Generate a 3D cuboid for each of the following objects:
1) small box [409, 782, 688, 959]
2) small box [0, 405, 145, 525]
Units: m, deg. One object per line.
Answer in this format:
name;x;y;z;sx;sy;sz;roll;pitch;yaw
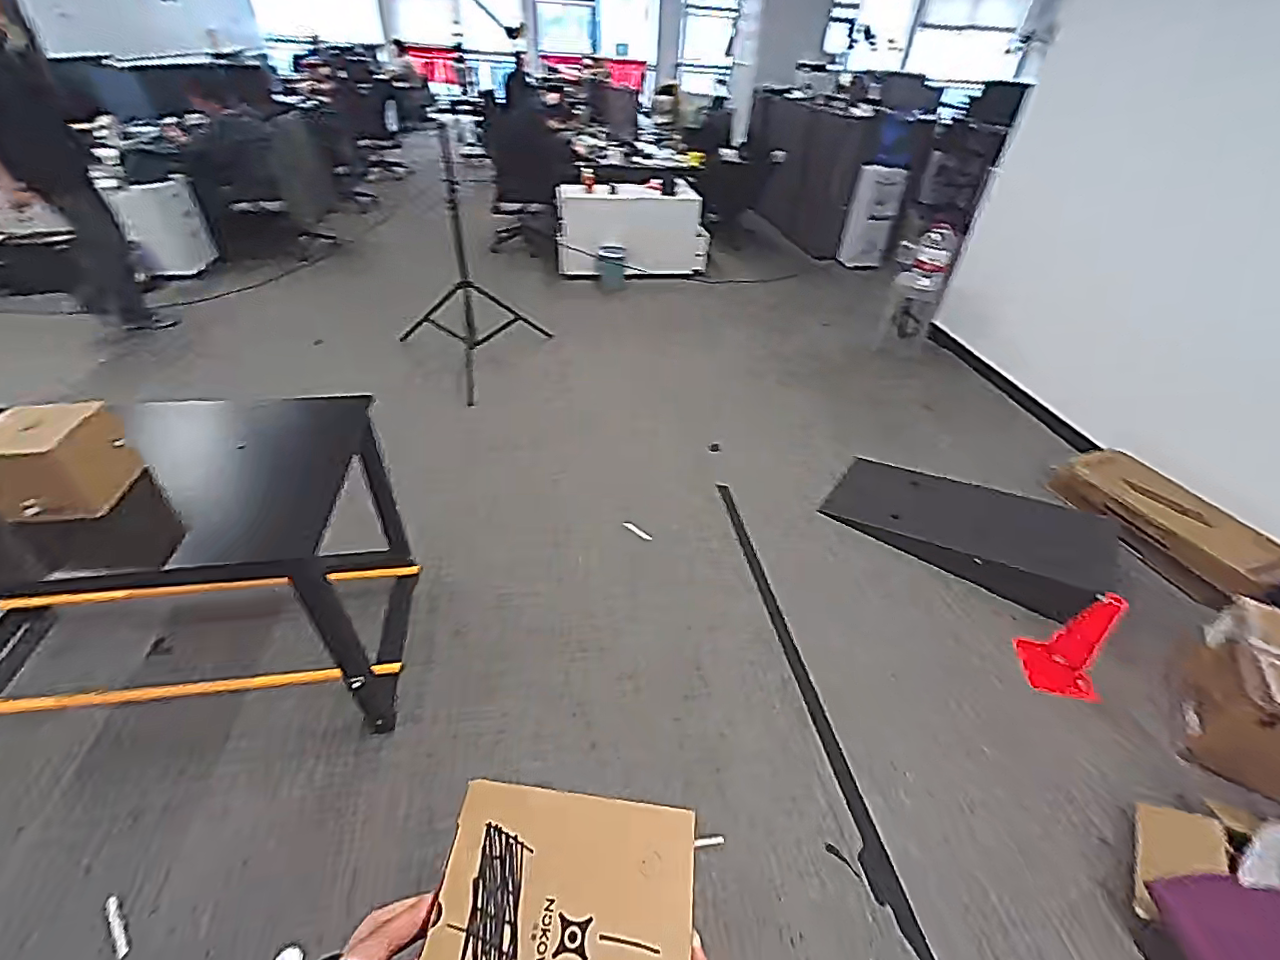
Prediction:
small box;-0.064;0.353;0.408;0.179;0.176;0.168;8;44;-1
small box;-1.154;-0.031;1.084;0.168;0.176;0.179;-5;41;-9
